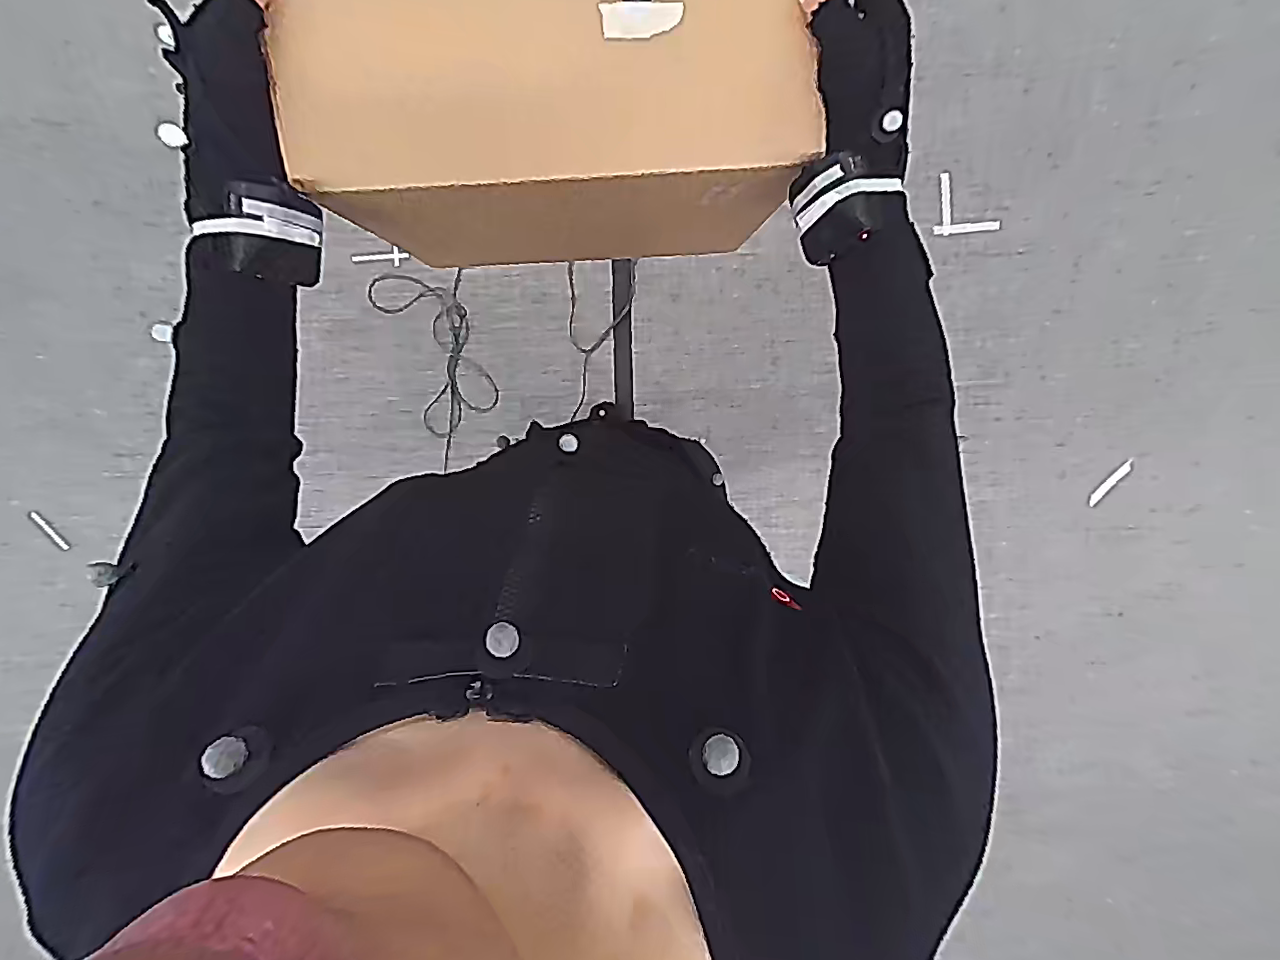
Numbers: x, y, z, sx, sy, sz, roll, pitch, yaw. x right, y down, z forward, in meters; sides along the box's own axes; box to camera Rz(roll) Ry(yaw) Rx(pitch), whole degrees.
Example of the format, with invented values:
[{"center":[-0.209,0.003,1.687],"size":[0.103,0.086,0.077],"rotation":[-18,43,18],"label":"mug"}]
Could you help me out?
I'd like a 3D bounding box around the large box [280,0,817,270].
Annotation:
[{"center":[-0.076,-0.415,0.544],"size":[0.408,0.320,0.320],"rotation":[-5,102,-2],"label":"large box"}]
